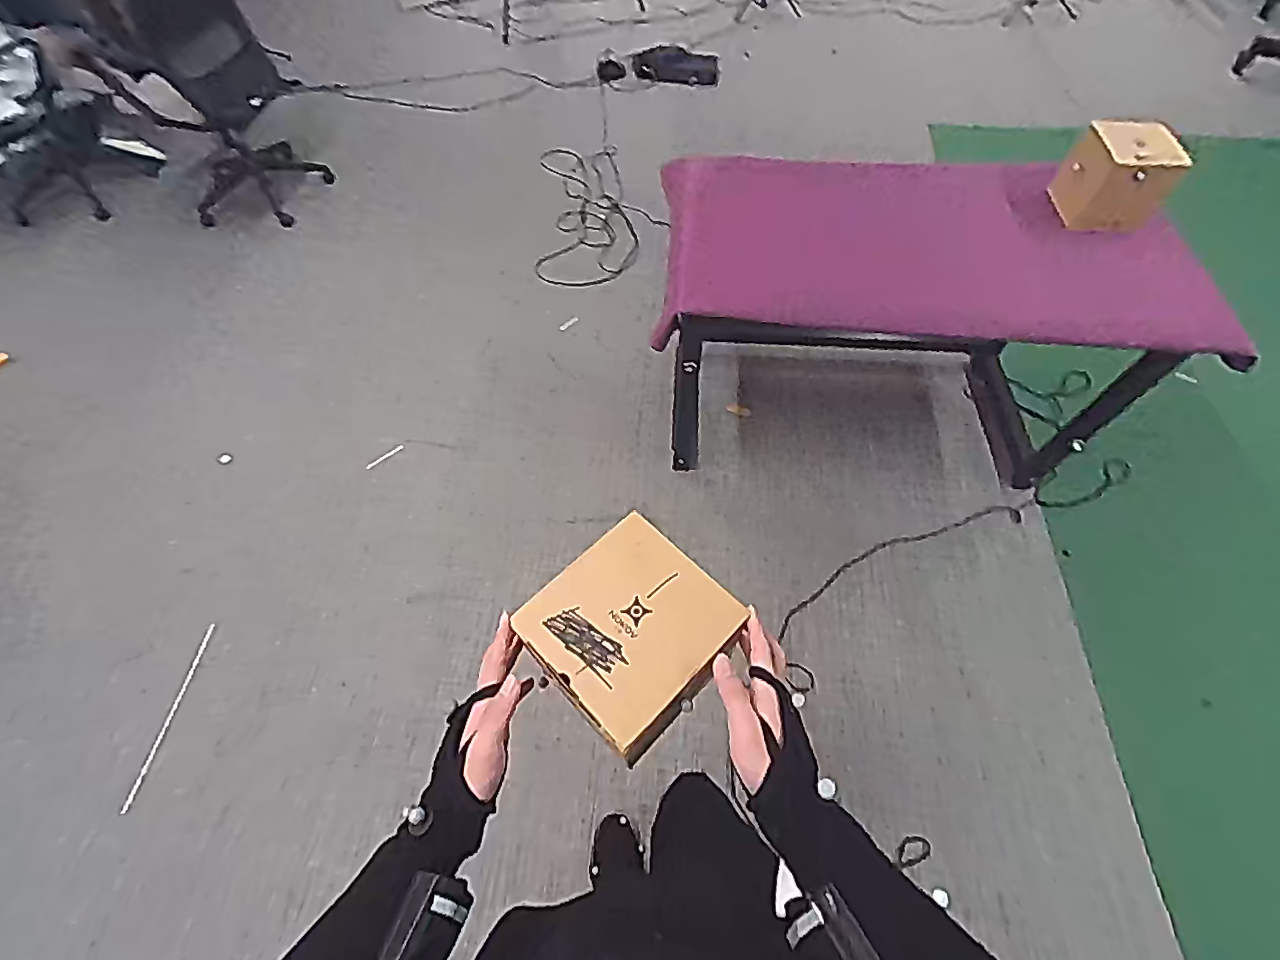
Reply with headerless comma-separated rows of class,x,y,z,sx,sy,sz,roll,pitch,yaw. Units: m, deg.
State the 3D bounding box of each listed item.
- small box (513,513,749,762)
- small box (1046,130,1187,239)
small box,-0.007,0.177,0.592,0.179,0.176,0.168,-39,65,-22
small box,1.134,-0.714,1.308,0.168,0.176,0.179,3,59,4
